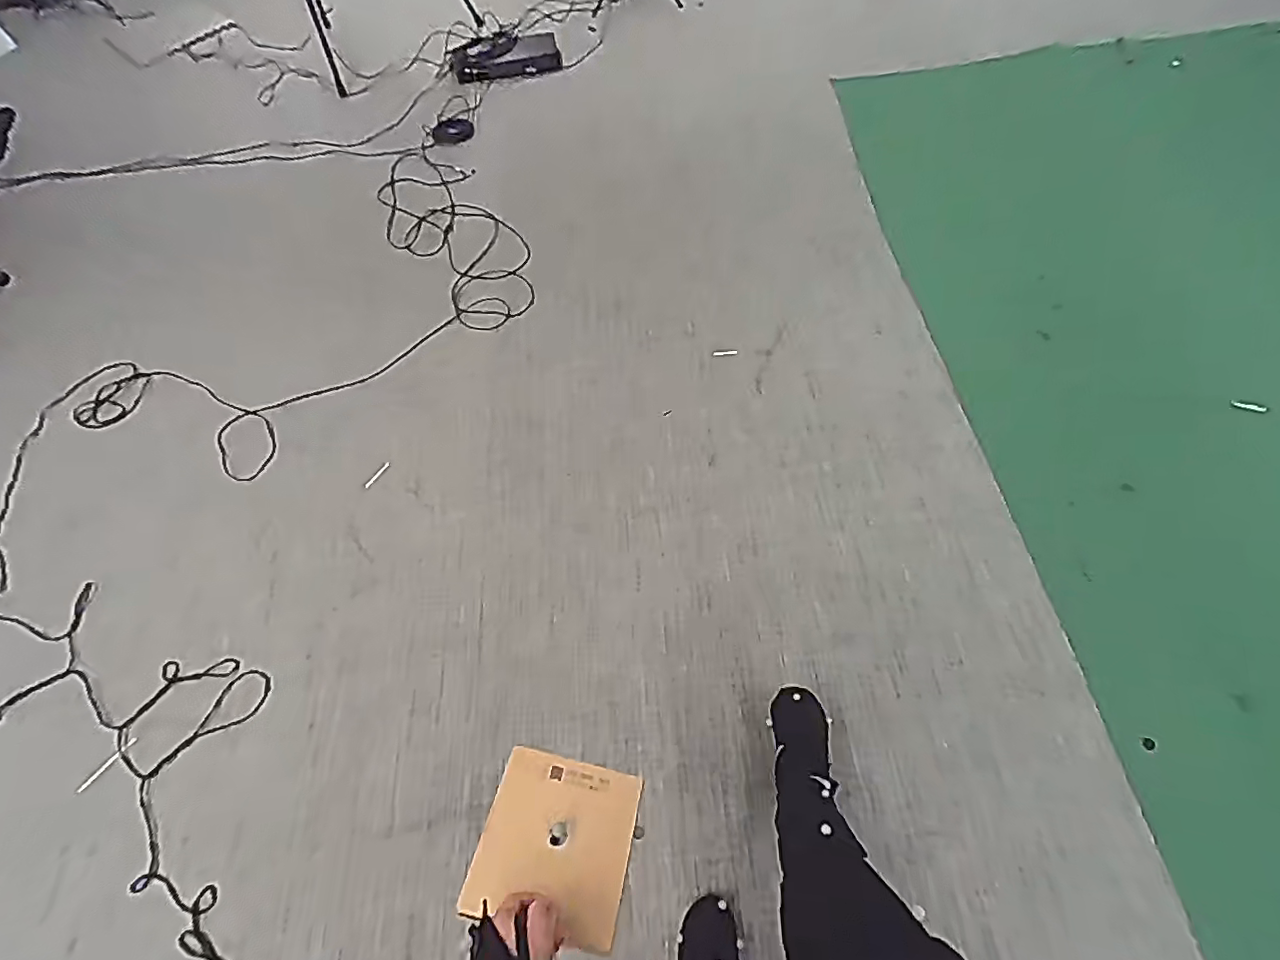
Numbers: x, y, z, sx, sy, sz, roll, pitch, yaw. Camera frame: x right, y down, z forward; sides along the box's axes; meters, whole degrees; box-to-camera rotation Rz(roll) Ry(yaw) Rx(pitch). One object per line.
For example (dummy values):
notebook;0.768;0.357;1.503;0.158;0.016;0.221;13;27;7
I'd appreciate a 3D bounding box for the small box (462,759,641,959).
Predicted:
small box;-0.097;0.466;0.657;0.168;0.179;0.176;12;43;4
